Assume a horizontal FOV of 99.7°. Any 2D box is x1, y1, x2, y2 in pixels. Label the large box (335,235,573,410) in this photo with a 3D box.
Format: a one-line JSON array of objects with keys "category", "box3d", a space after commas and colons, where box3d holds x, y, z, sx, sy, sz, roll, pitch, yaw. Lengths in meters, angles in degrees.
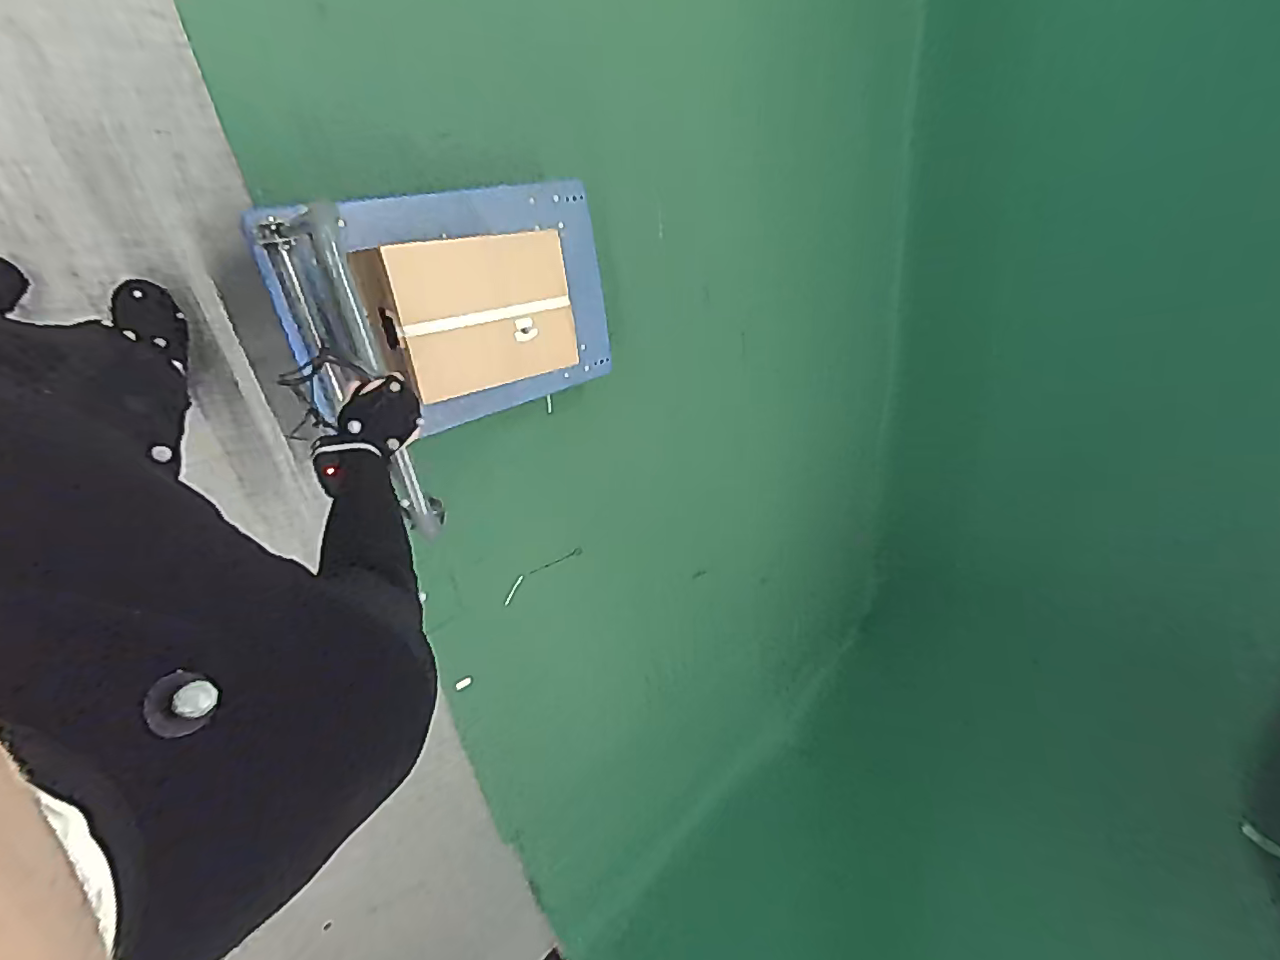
[{"category": "large box", "box3d": [-0.430, -0.386, 1.285, 0.408, 0.320, 0.320, -25, 120, -36]}]
